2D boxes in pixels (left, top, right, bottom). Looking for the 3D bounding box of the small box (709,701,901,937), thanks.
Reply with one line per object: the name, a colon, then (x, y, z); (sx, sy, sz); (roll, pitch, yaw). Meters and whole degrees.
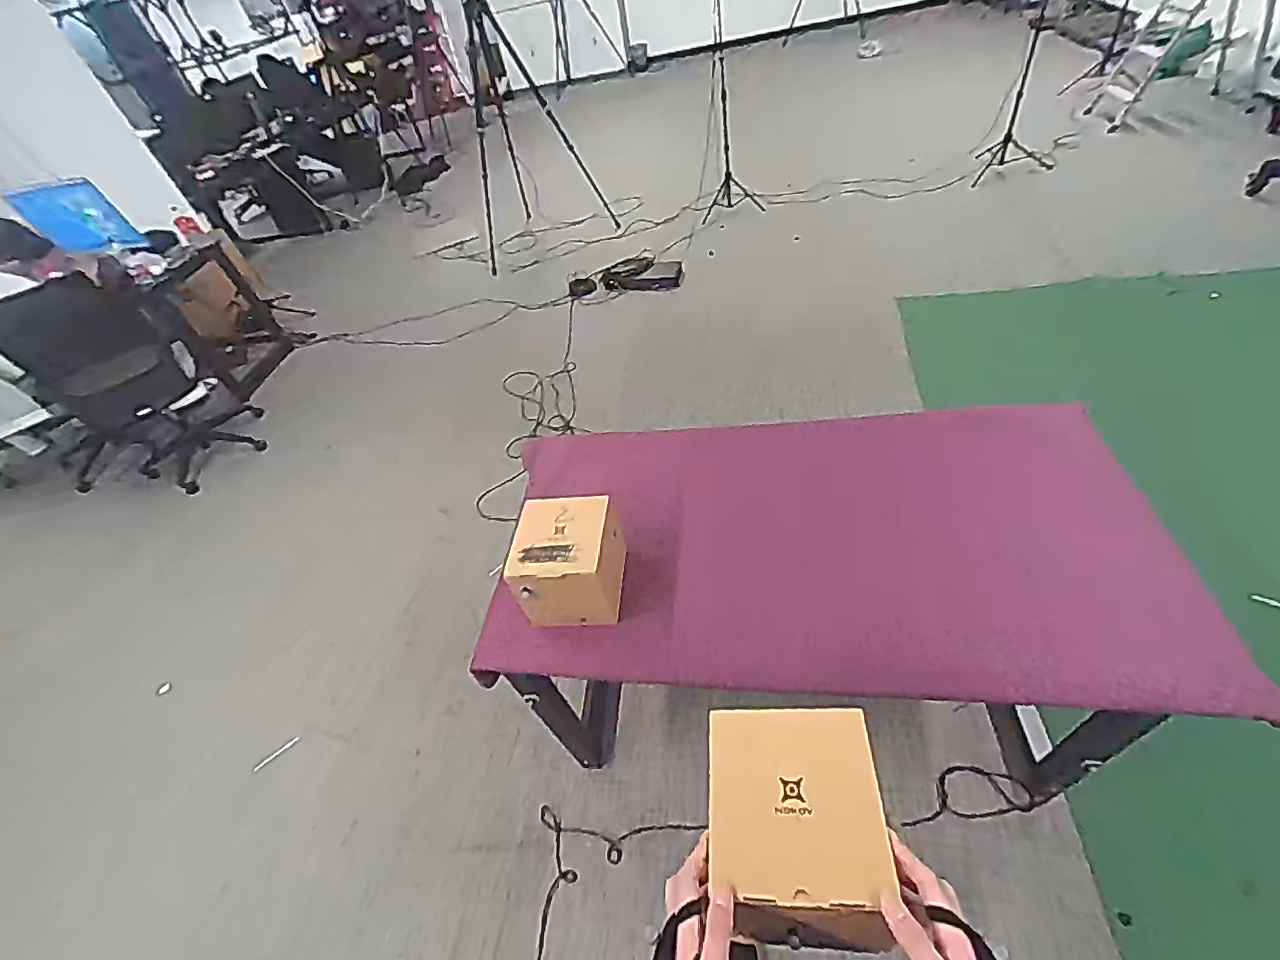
small box: (0.167, 0.362, 0.586); (0.168, 0.176, 0.179); (-5, 42, 13)
